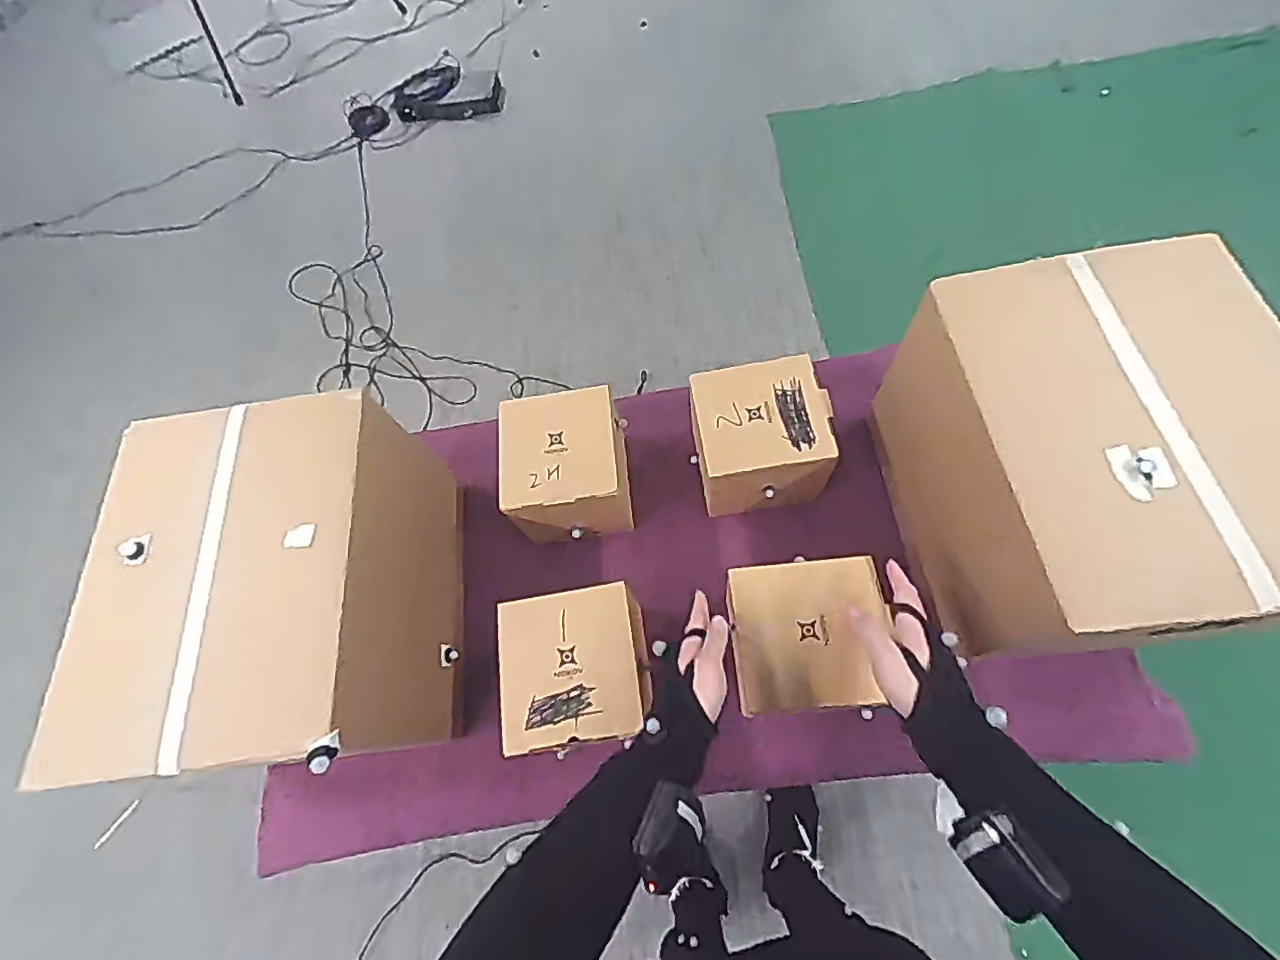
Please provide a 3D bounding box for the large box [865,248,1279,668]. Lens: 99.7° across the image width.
[{"bbox_3d":[0.520,-0.002,0.669,0.320,0.320,0.408,-8,66,5],"label":"large box"}]
